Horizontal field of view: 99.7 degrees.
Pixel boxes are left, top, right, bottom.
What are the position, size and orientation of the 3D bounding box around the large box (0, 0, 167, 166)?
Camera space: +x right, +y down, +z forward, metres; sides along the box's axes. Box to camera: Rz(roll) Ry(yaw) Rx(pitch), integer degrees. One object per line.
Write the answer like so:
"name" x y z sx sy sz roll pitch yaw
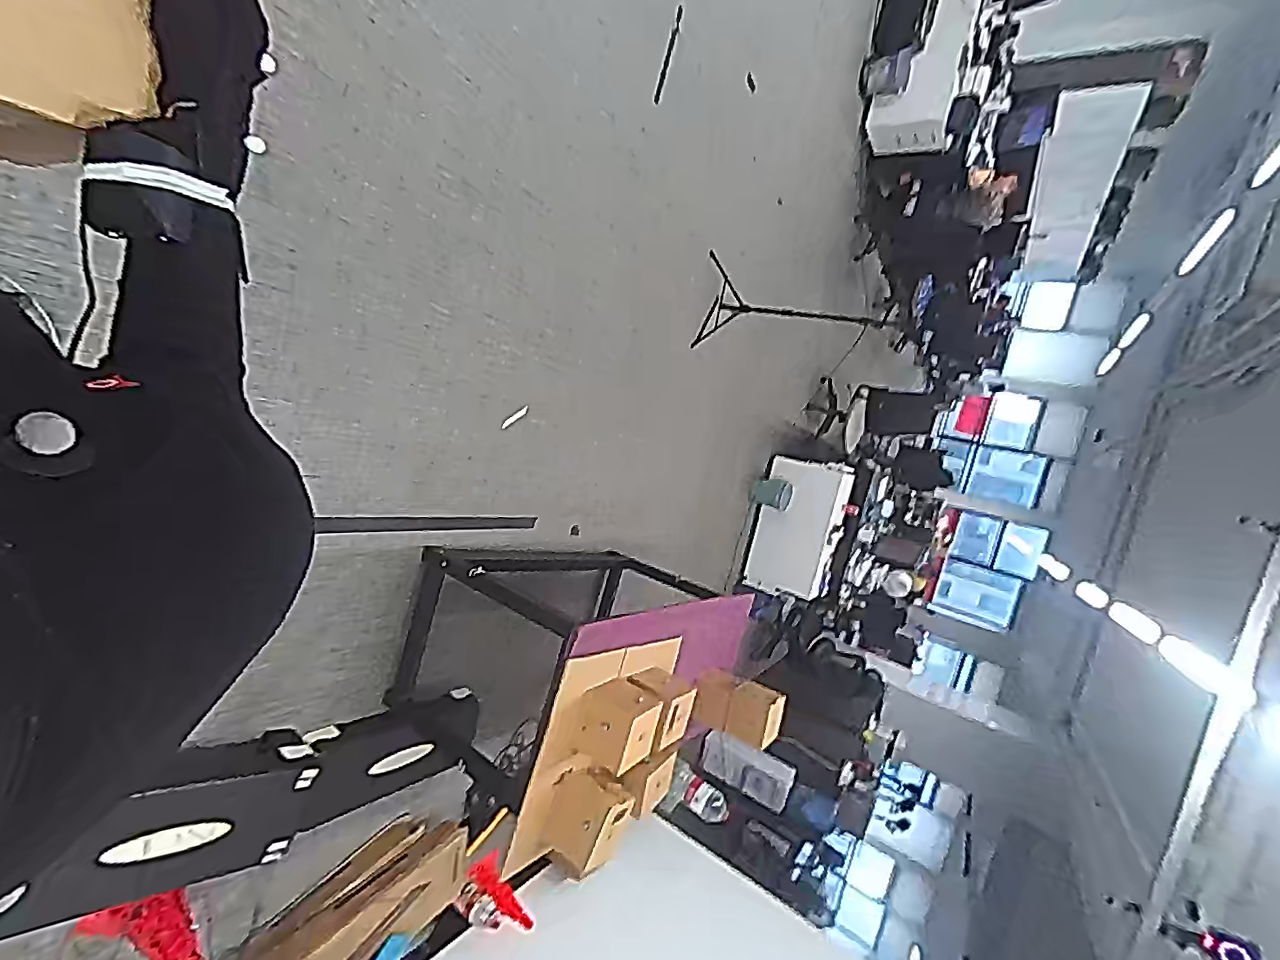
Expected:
"large box" -0.547 -0.403 0.268 0.408 0.320 0.320 -7 112 -59
